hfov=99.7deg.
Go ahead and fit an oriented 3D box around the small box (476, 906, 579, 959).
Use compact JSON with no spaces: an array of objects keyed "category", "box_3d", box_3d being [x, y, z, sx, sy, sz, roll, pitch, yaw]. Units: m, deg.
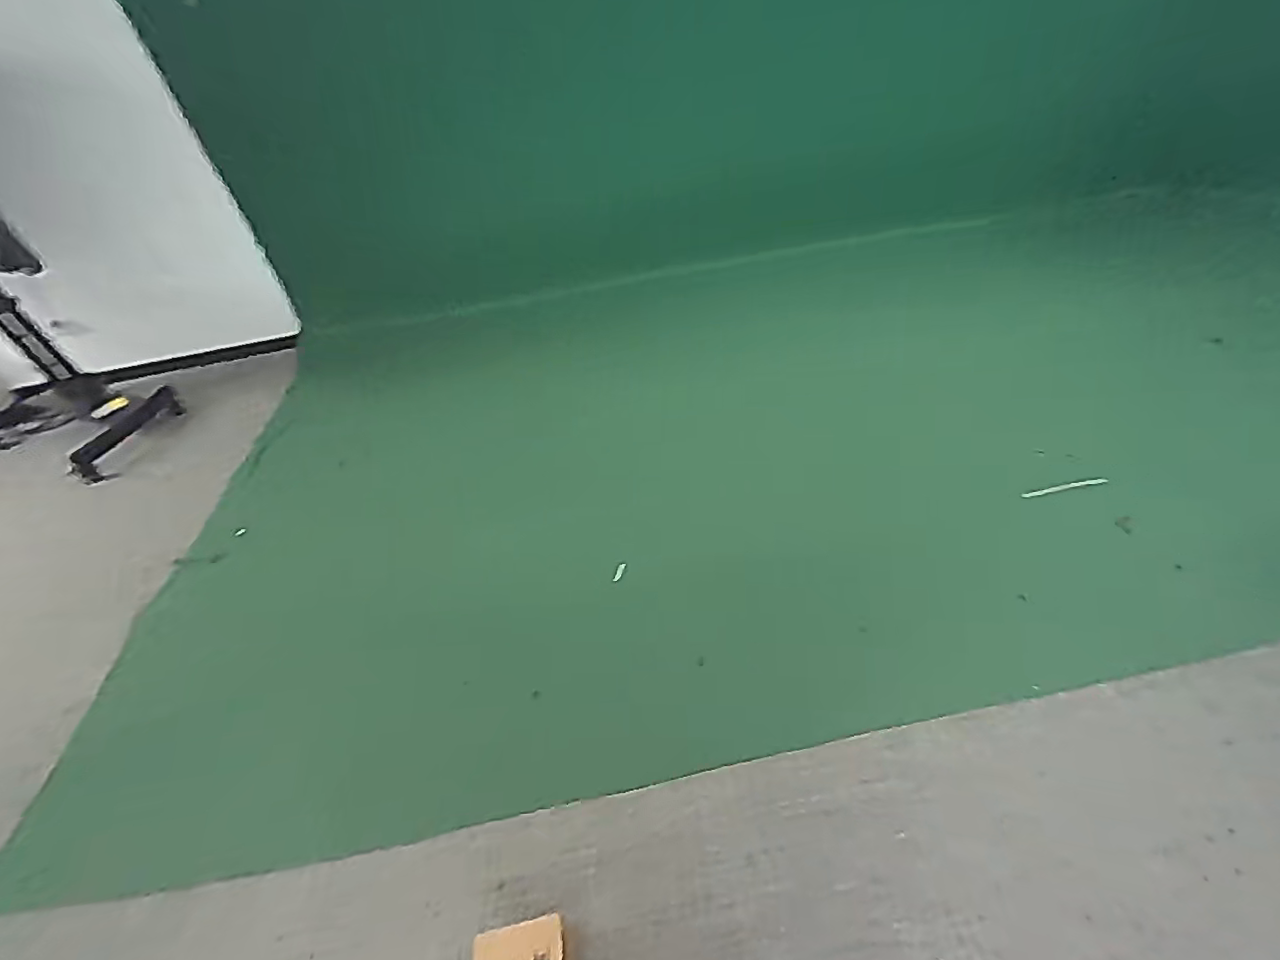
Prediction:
[{"category":"small box","box_3d":[-0.216,0.983,1.078,0.179,0.176,0.168,-13,43,-3]}]
